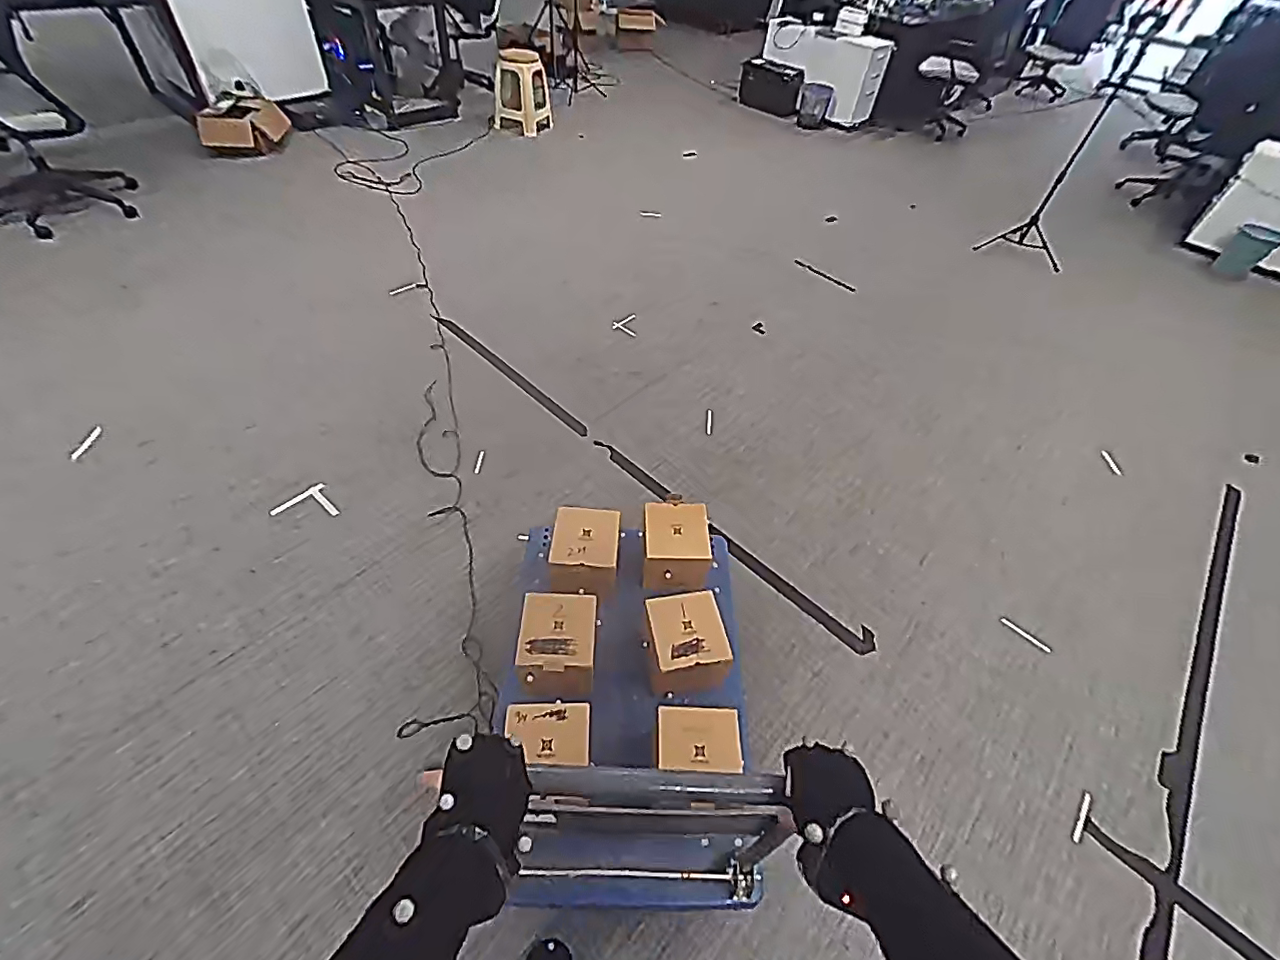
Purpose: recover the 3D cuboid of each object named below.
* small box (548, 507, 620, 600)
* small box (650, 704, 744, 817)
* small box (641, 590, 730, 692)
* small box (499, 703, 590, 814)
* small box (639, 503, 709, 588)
[{"bbox_3d":[-0.145,0.194,1.425,0.168,0.176,0.179,5,50,-2],"label":"small box"},{"bbox_3d":[0.112,0.585,1.121,0.168,0.176,0.179,5,49,-3],"label":"small box"},{"bbox_3d":[0.101,0.388,1.287,0.168,0.176,0.179,-6,50,-11],"label":"small box"},{"bbox_3d":[-0.185,0.570,1.099,0.168,0.176,0.179,2,50,-6],"label":"small box"},{"bbox_3d":[0.086,0.181,1.463,0.168,0.176,0.179,1,49,-5],"label":"small box"}]
